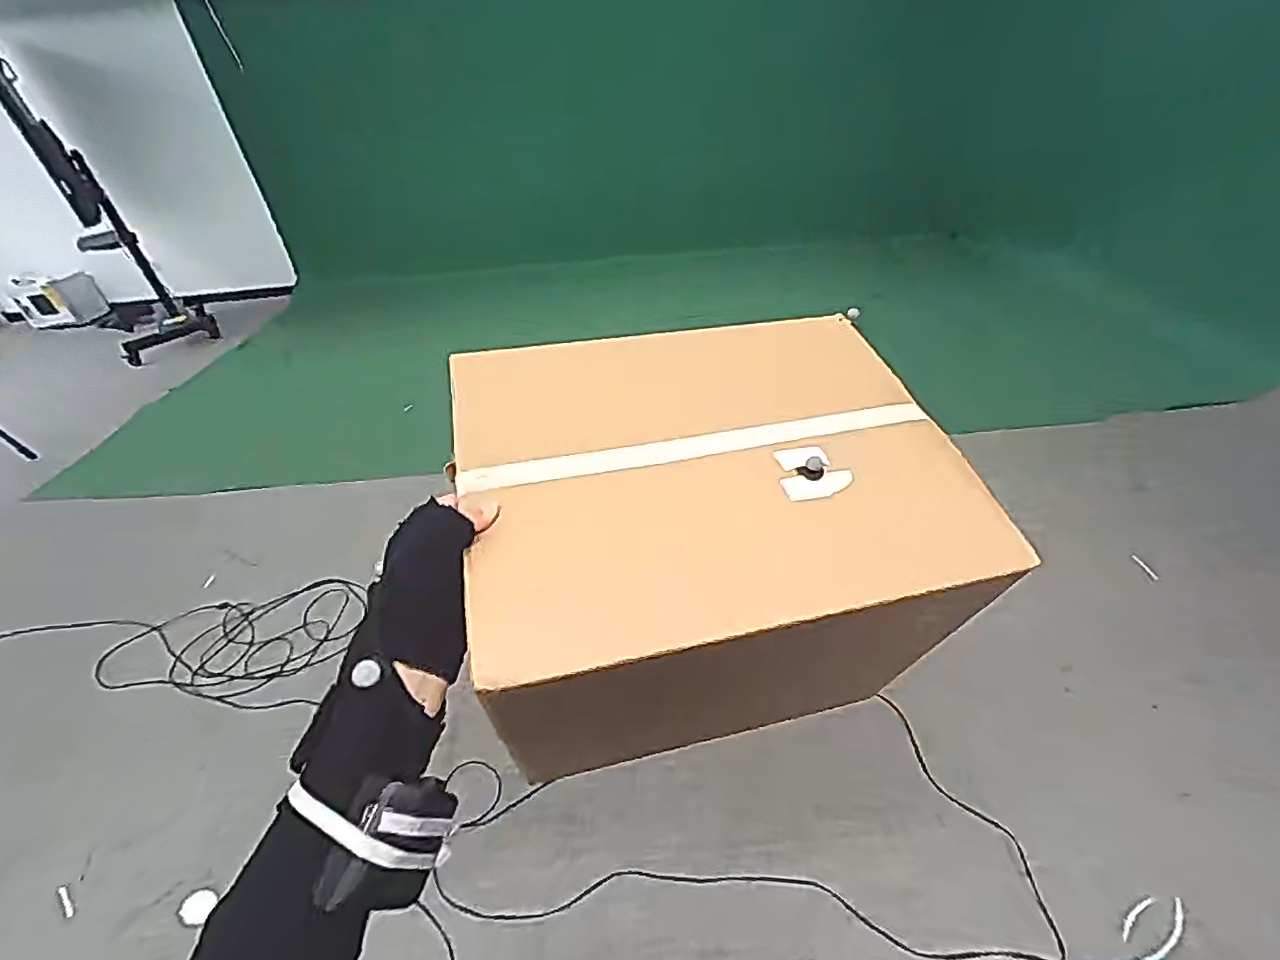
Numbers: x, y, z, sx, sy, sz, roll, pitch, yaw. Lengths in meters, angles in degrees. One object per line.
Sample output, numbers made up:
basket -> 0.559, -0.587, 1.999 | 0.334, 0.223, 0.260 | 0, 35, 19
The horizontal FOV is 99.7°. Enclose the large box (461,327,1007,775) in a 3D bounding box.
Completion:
large box -> 0.046, 0.070, 0.578 | 0.408, 0.320, 0.320 | -8, 53, -12
